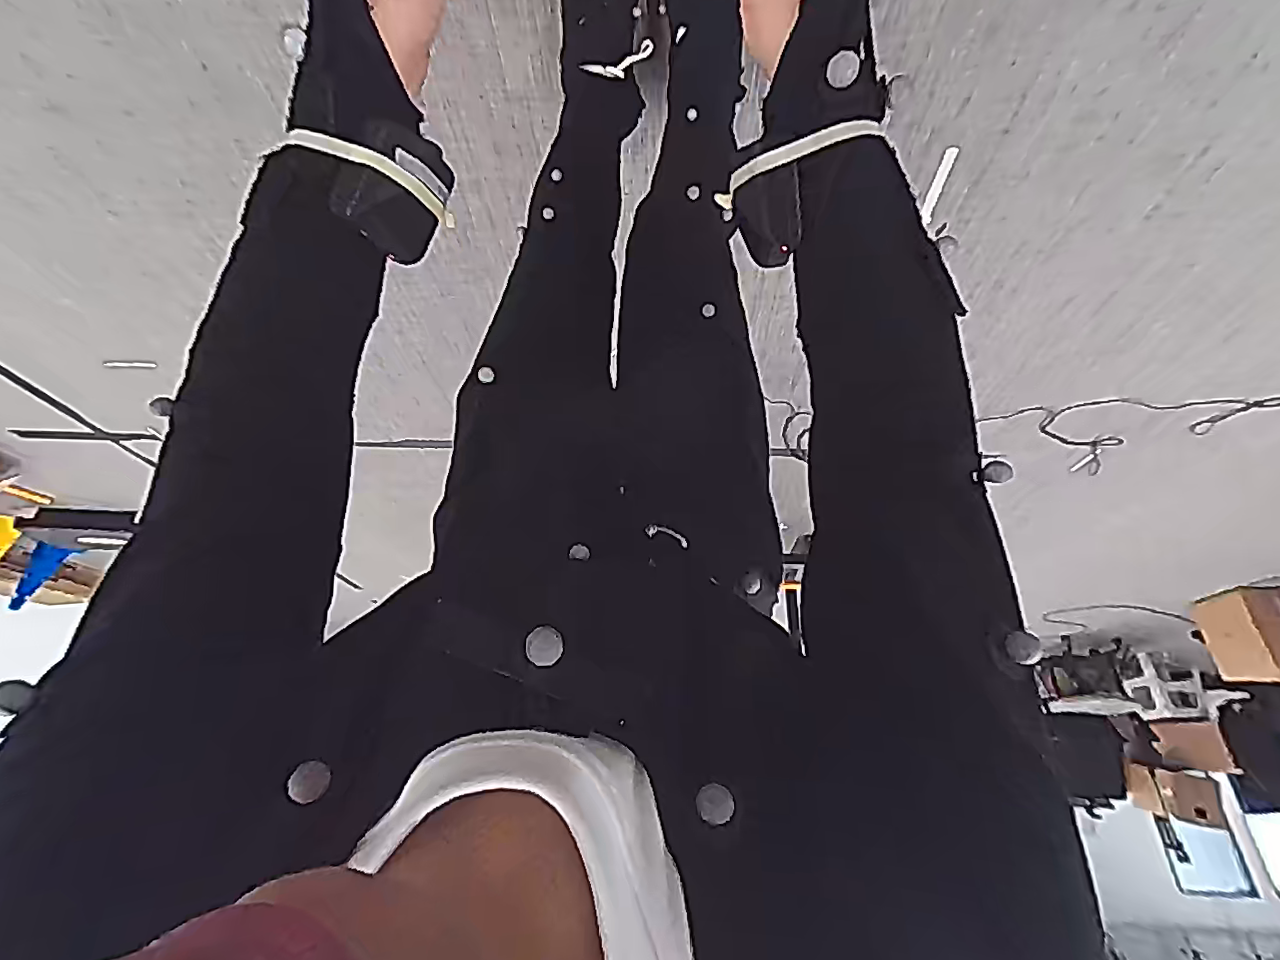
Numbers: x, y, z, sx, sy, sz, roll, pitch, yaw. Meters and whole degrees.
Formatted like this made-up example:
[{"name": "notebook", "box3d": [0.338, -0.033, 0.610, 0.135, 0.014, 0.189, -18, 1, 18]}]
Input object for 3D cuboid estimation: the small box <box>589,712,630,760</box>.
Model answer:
[{"name": "small box", "box3d": [-0.128, 1.098, 2.312, 0.168, 0.176, 0.179, 3, 150, -1]}]
